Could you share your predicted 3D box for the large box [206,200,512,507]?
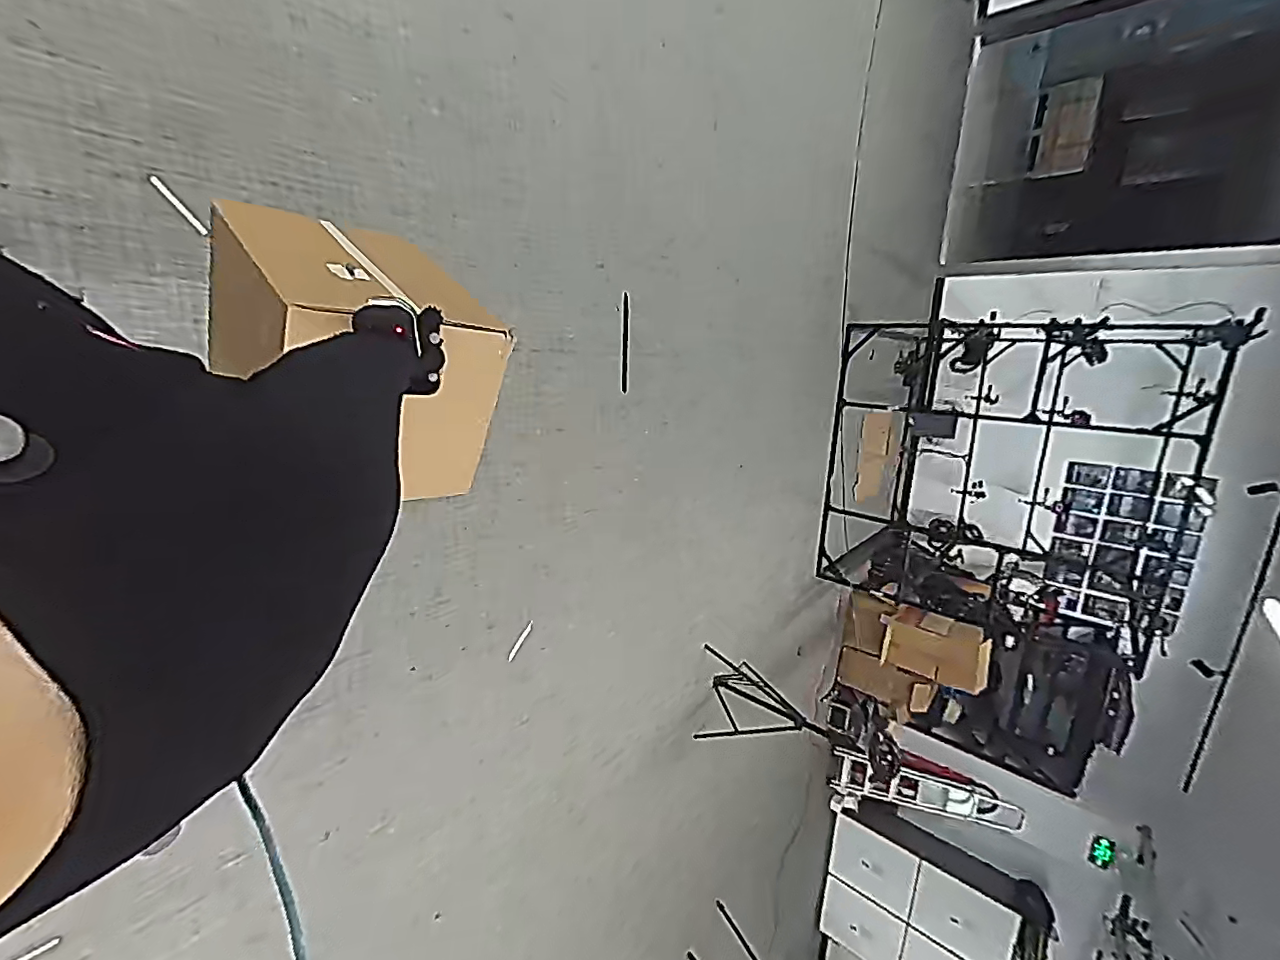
[{"bbox_3d":[-0.489,-0.206,0.911,0.320,0.408,0.320,-7,132,-47],"label":"large box"}]
